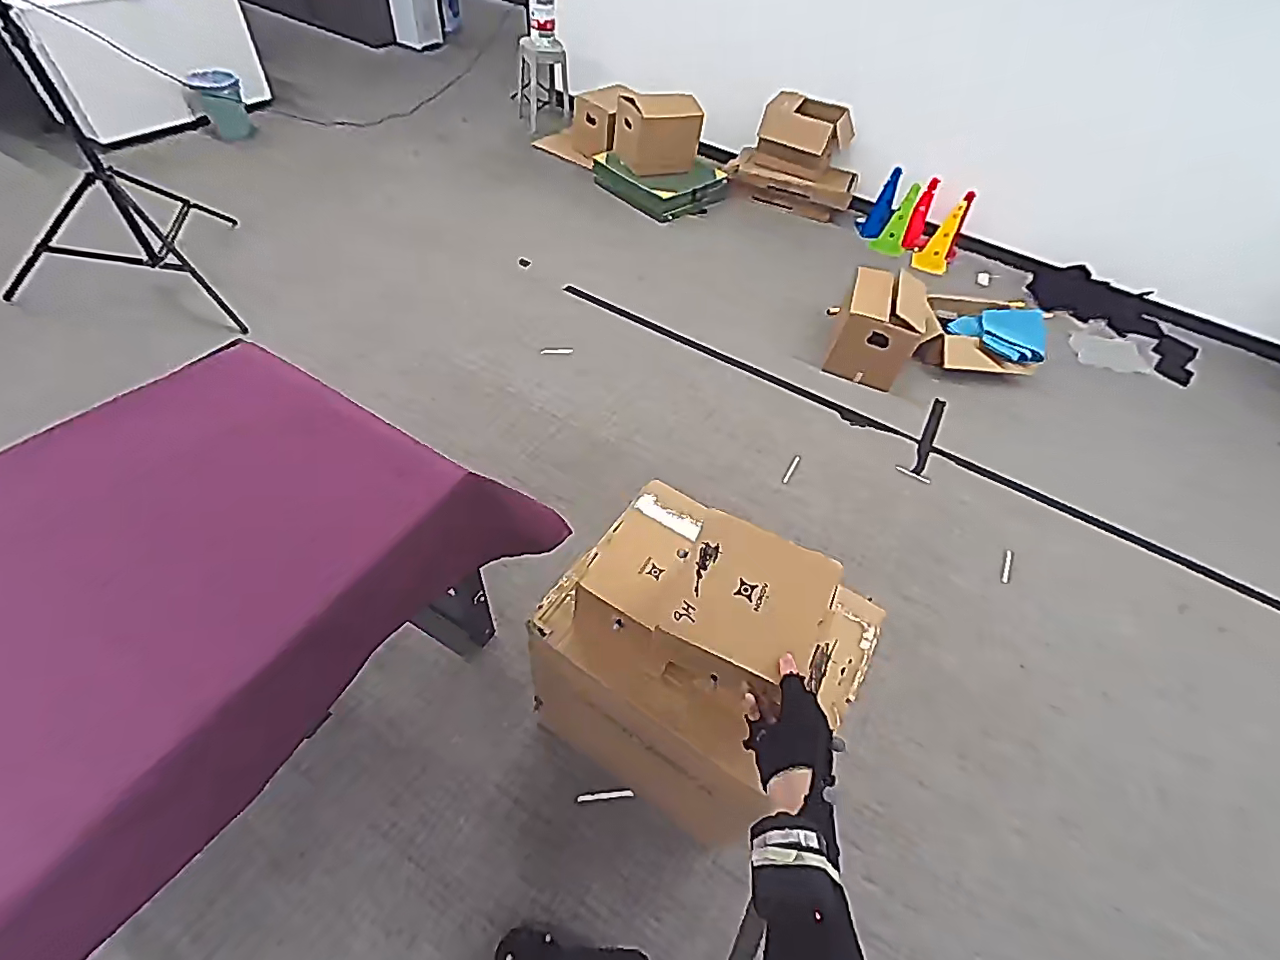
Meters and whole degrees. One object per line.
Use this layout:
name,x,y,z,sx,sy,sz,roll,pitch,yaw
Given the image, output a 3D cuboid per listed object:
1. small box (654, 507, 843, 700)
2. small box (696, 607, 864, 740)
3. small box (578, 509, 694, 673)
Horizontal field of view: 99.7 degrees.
small box,0.130,0.167,0.698,0.179,0.176,0.168,23,64,12
small box,0.209,0.276,0.840,0.179,0.176,0.168,30,55,18
small box,0.011,0.186,0.885,0.179,0.176,0.168,29,55,13
